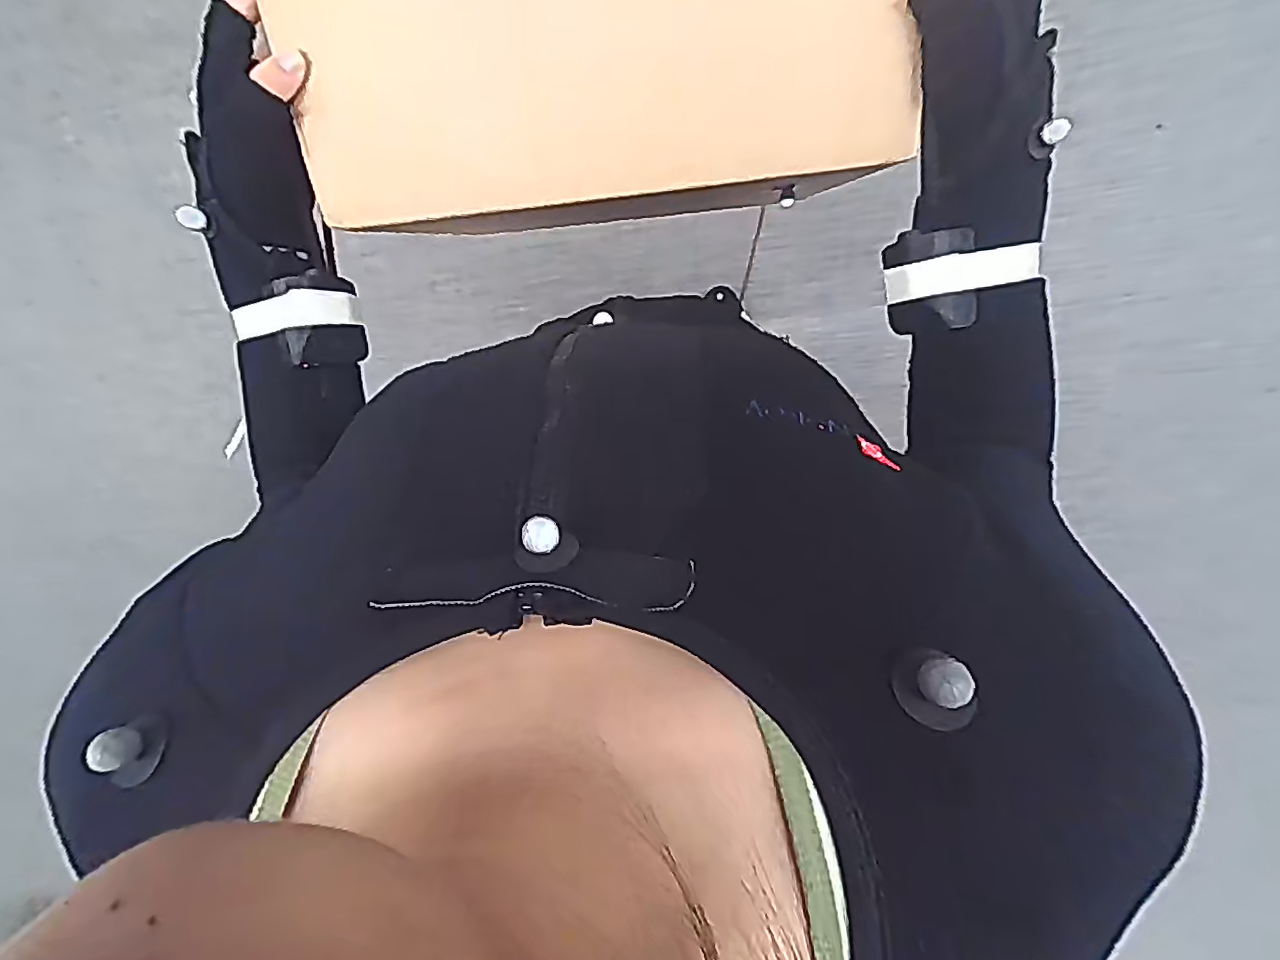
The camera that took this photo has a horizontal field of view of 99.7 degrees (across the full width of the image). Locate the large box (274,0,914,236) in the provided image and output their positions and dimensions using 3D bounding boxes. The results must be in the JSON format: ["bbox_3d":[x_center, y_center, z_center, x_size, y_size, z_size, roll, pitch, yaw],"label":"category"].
[{"bbox_3d":[-0.028,-0.396,0.455,0.408,0.320,0.320,-4,113,5],"label":"large box"}]
